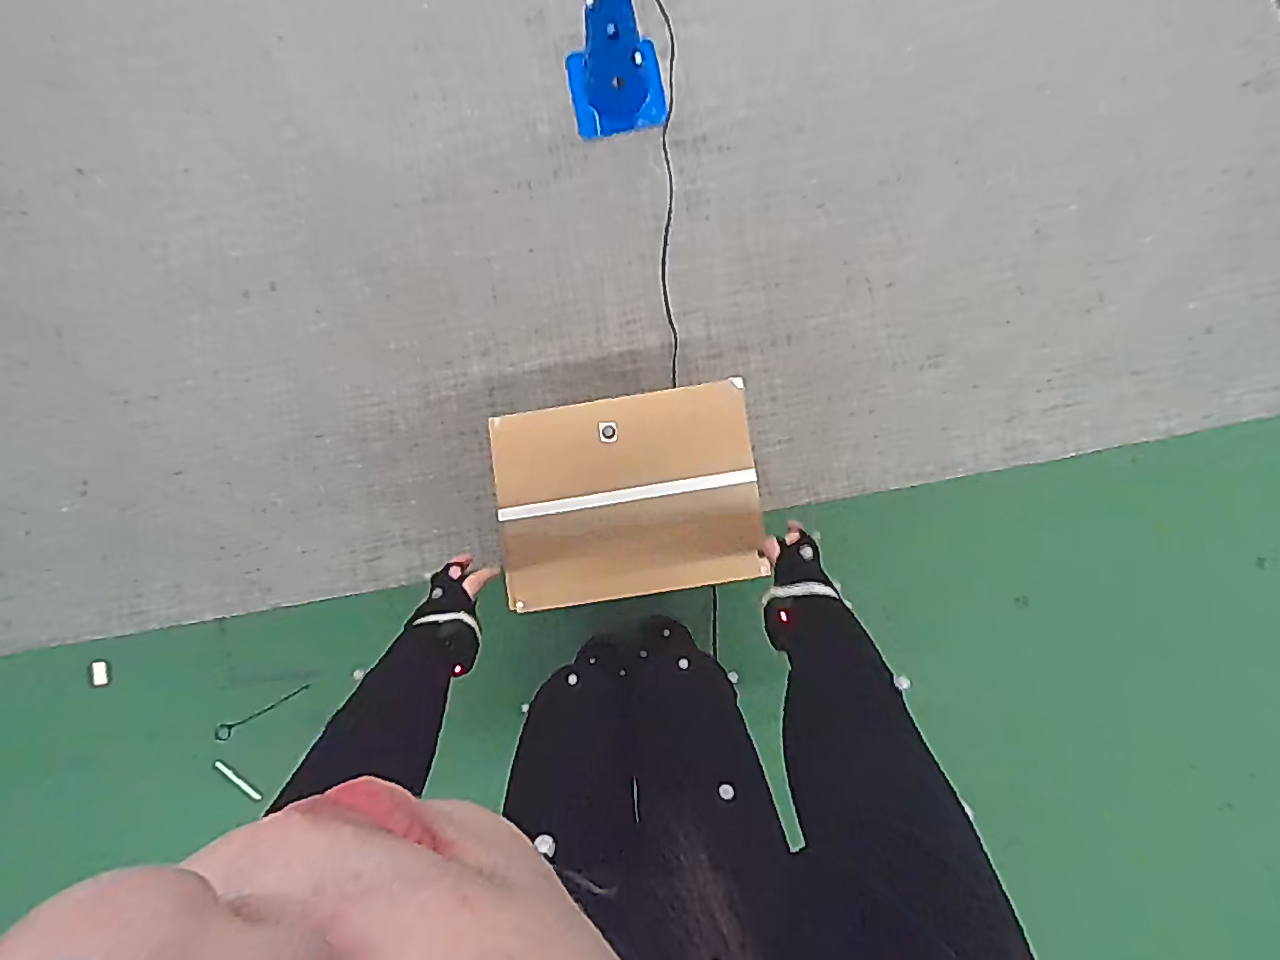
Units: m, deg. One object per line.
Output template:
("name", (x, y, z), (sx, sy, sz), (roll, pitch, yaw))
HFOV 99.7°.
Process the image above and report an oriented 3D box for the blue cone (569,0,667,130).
("blue cone", (-0.053, -0.863, 1.000), (0.193, 0.380, 0.192), (-14, 87, 2))
